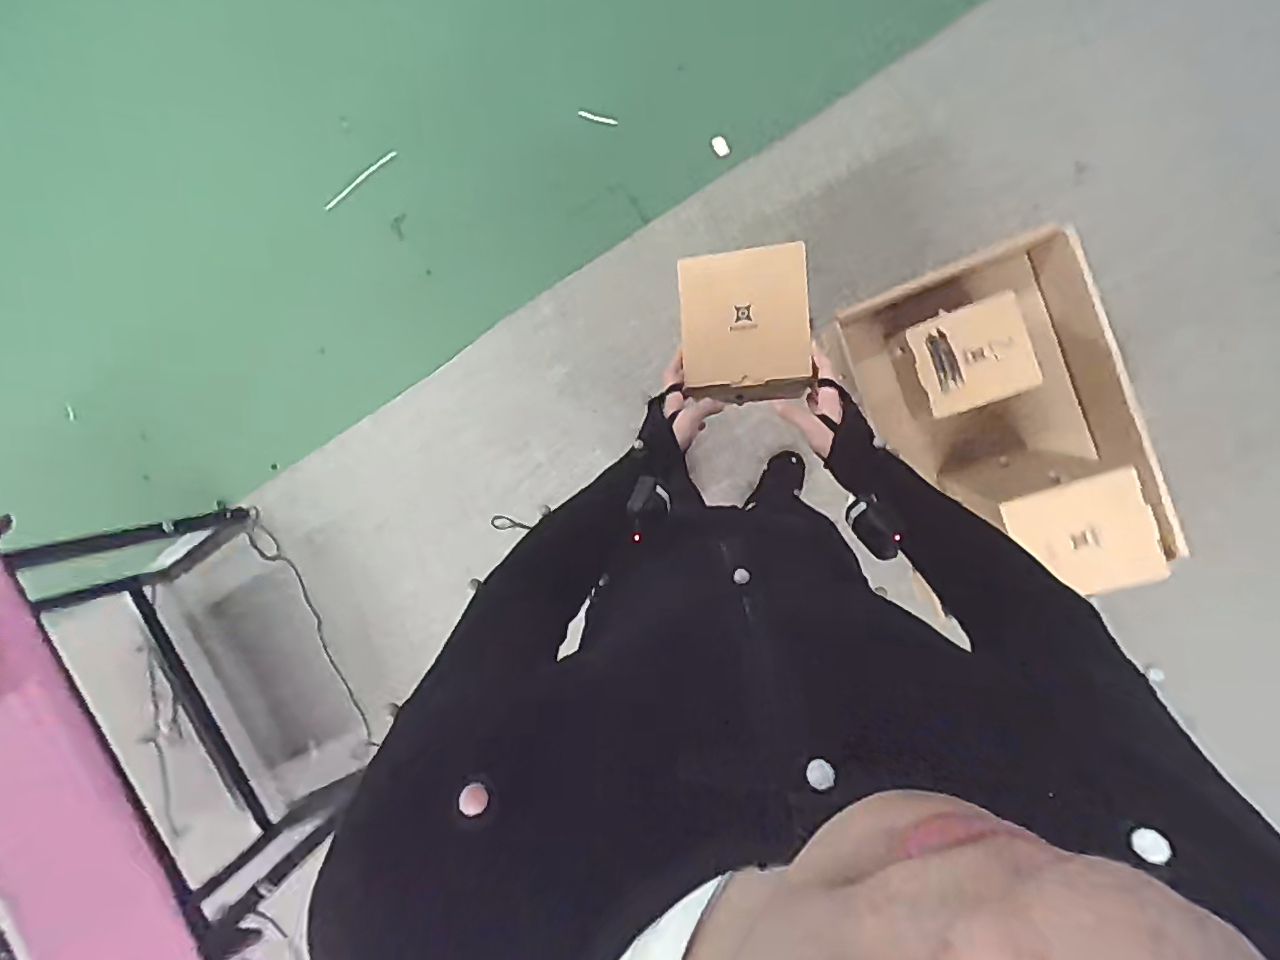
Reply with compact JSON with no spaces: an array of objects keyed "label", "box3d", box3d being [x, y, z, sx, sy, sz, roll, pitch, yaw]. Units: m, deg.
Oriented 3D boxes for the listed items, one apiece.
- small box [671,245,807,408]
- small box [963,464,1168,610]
[{"label":"small box","box3d":[0.141,-0.207,0.776,0.168,0.176,0.179,-5,90,12]},{"label":"small box","box3d":[0.645,0.080,0.843,0.179,0.176,0.168,-19,92,16]}]
